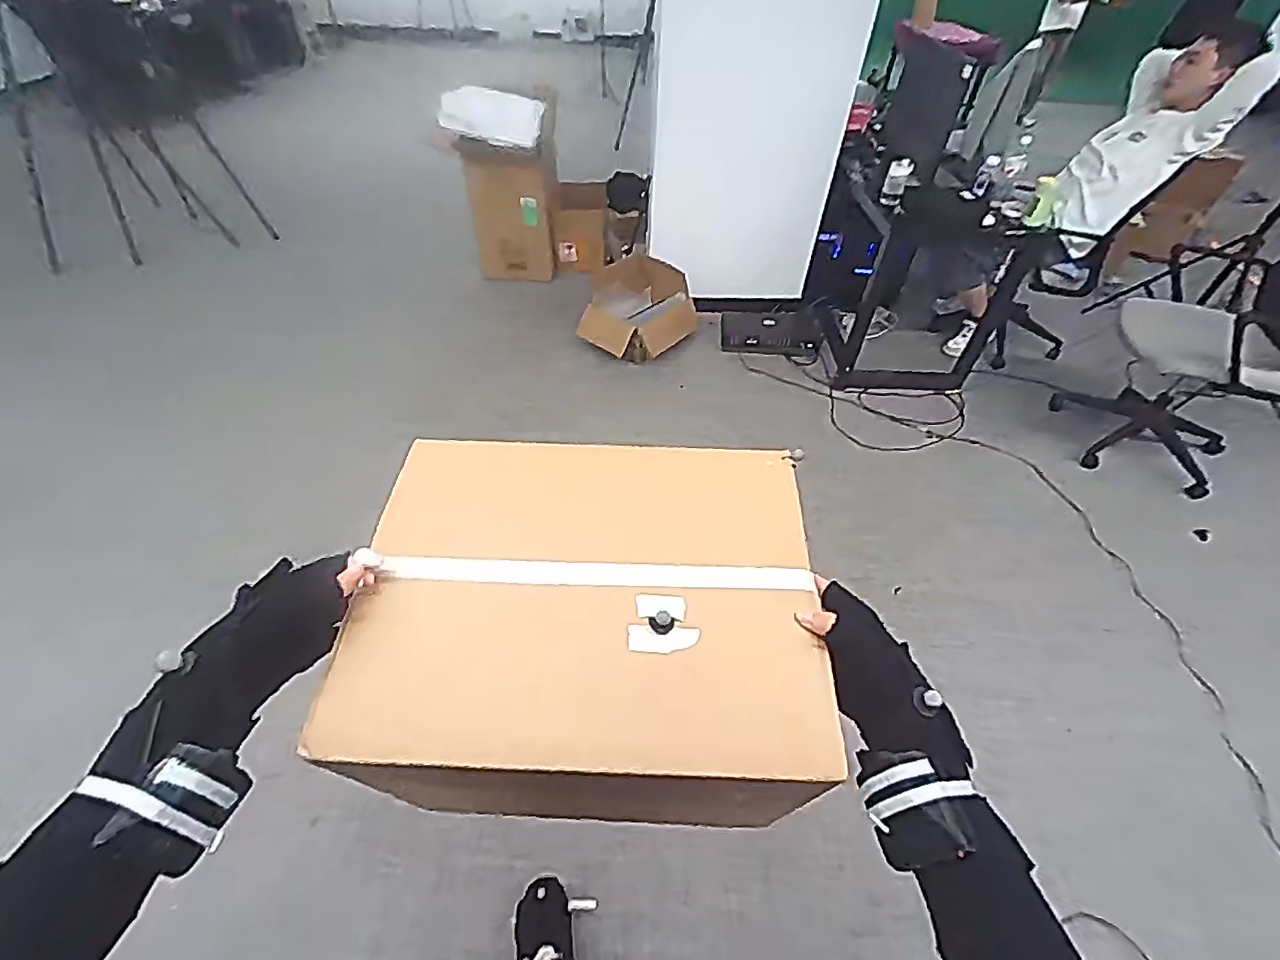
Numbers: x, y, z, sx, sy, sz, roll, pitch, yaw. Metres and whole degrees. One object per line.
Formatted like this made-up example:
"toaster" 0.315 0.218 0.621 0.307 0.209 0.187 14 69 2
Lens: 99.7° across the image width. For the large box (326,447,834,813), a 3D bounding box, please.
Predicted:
"large box" -0.046 0.181 0.623 0.408 0.320 0.320 2 53 1
